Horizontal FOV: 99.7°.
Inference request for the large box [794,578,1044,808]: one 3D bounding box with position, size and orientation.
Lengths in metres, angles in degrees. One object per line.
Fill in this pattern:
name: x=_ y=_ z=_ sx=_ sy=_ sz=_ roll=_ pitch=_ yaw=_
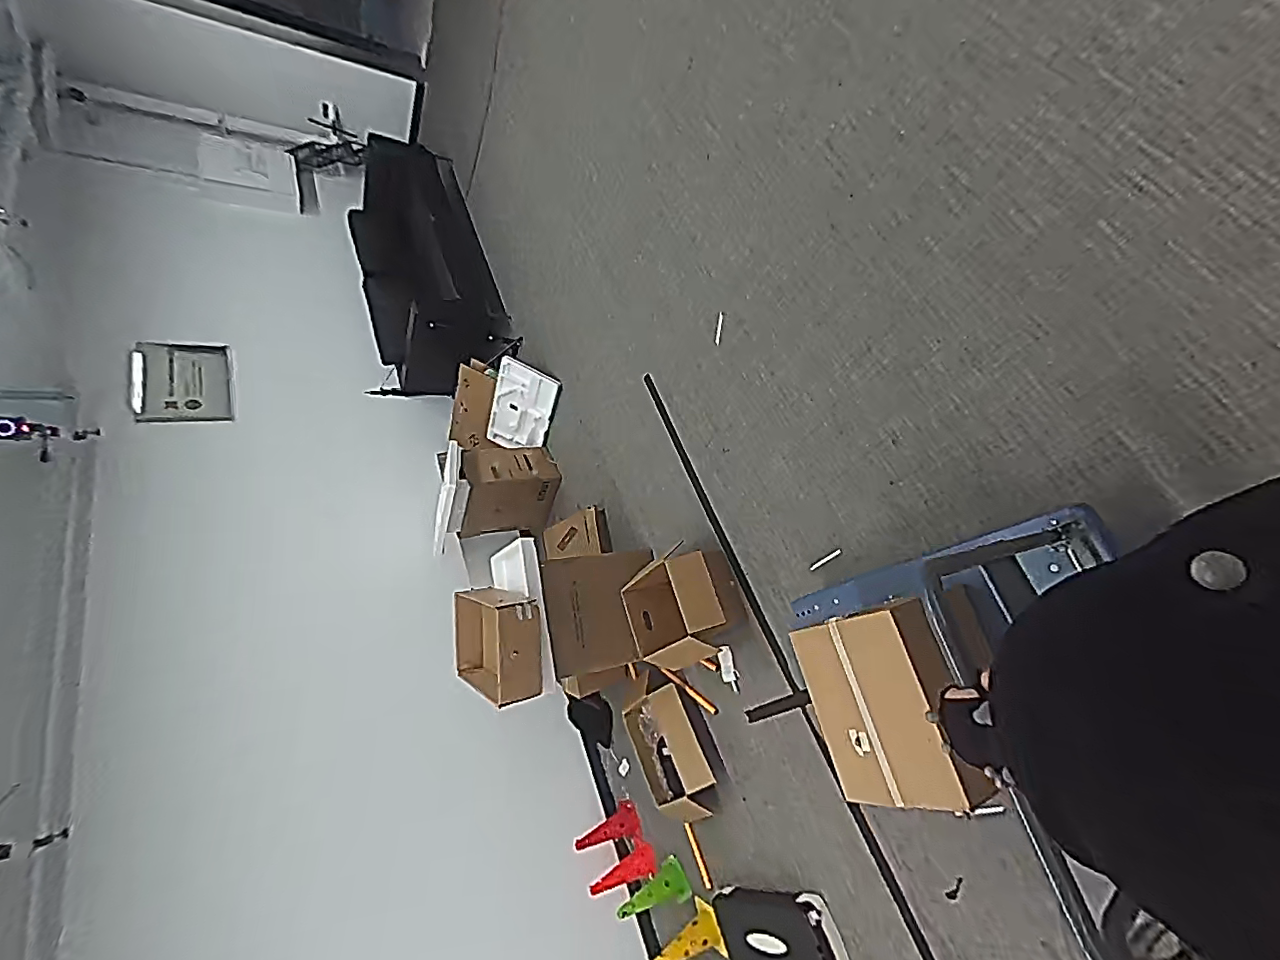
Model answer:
large box: x=0.641 y=0.485 z=1.276 sx=0.320 sy=0.320 sz=0.408 roll=-40 pitch=62 yaw=53
